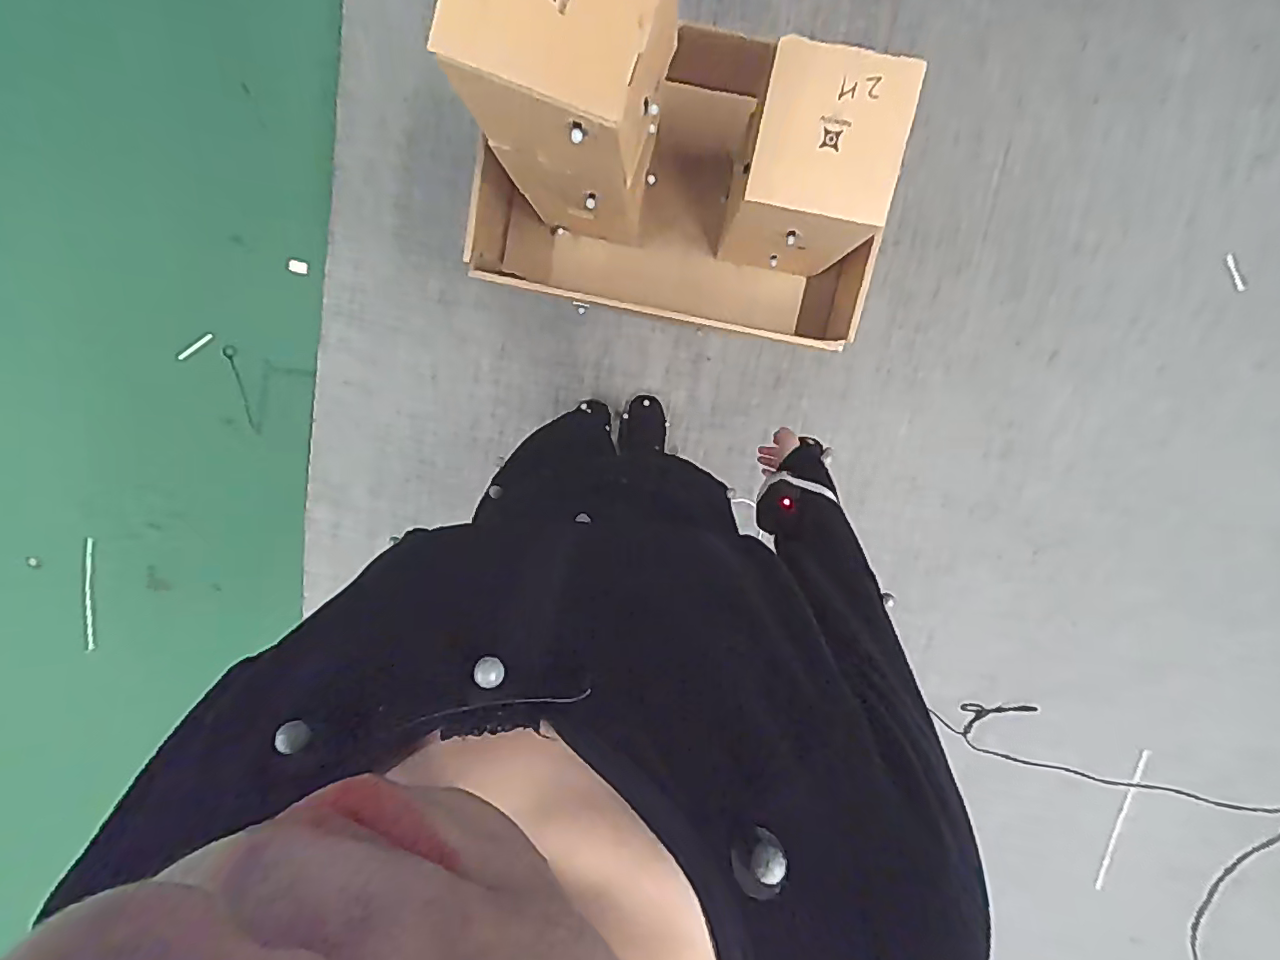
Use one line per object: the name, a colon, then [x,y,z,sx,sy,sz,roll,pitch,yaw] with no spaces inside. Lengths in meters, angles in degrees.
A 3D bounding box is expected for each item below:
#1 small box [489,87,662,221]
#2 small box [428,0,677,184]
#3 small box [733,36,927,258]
small box: [-0.070,-0.457,0.687,0.168,0.176,0.179,17,100,-2]
small box: [-0.072,-0.423,0.529,0.179,0.176,0.168,20,100,-4]
small box: [0.220,-0.398,0.681,0.168,0.176,0.179,13,101,0]
